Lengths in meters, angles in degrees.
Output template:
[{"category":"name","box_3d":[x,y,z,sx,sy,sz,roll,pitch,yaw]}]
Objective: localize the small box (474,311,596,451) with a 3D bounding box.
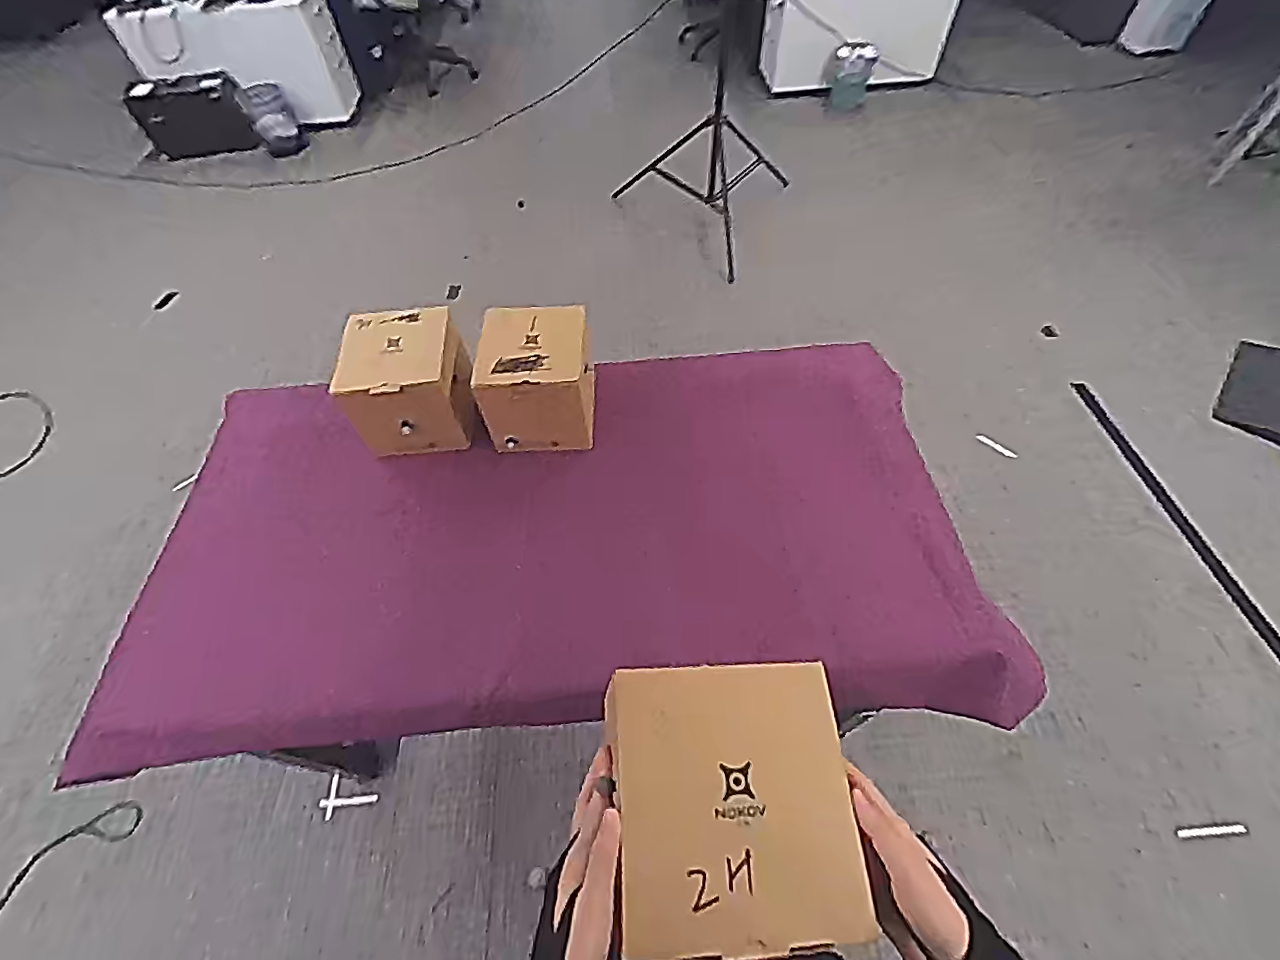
[{"category":"small box","box_3d":[-0.165,-0.161,0.914,0.168,0.176,0.179,-1,56,1]}]

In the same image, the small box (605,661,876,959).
[{"category":"small box","box_3d":[0.058,0.258,0.445,0.168,0.176,0.179,0,60,-6]}]
